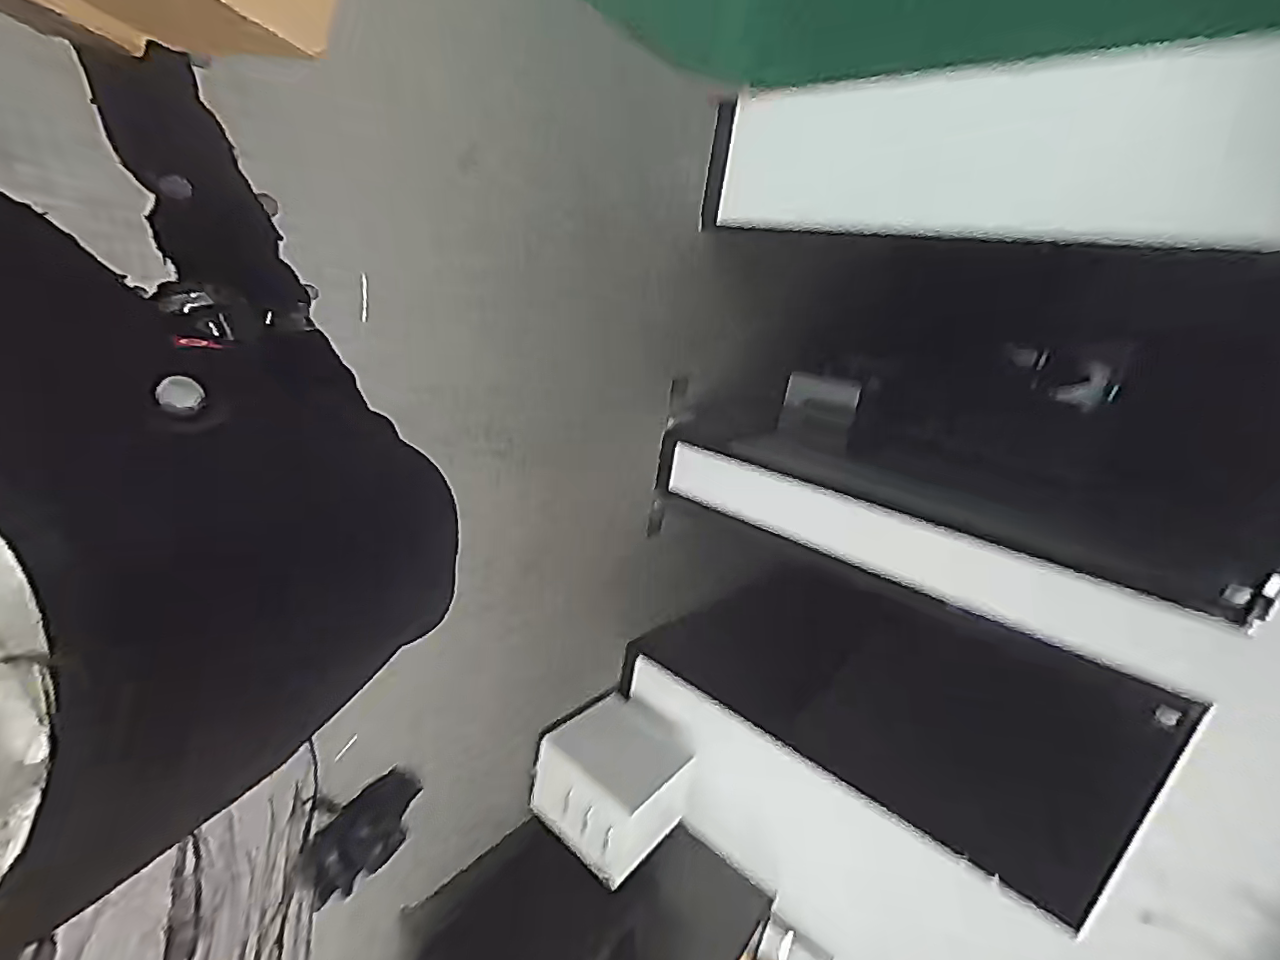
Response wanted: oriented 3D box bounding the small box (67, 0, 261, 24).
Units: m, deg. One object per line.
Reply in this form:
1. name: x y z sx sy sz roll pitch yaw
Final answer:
1. small box: -0.177 -0.225 0.095 0.179 0.176 0.168 3 115 -55
